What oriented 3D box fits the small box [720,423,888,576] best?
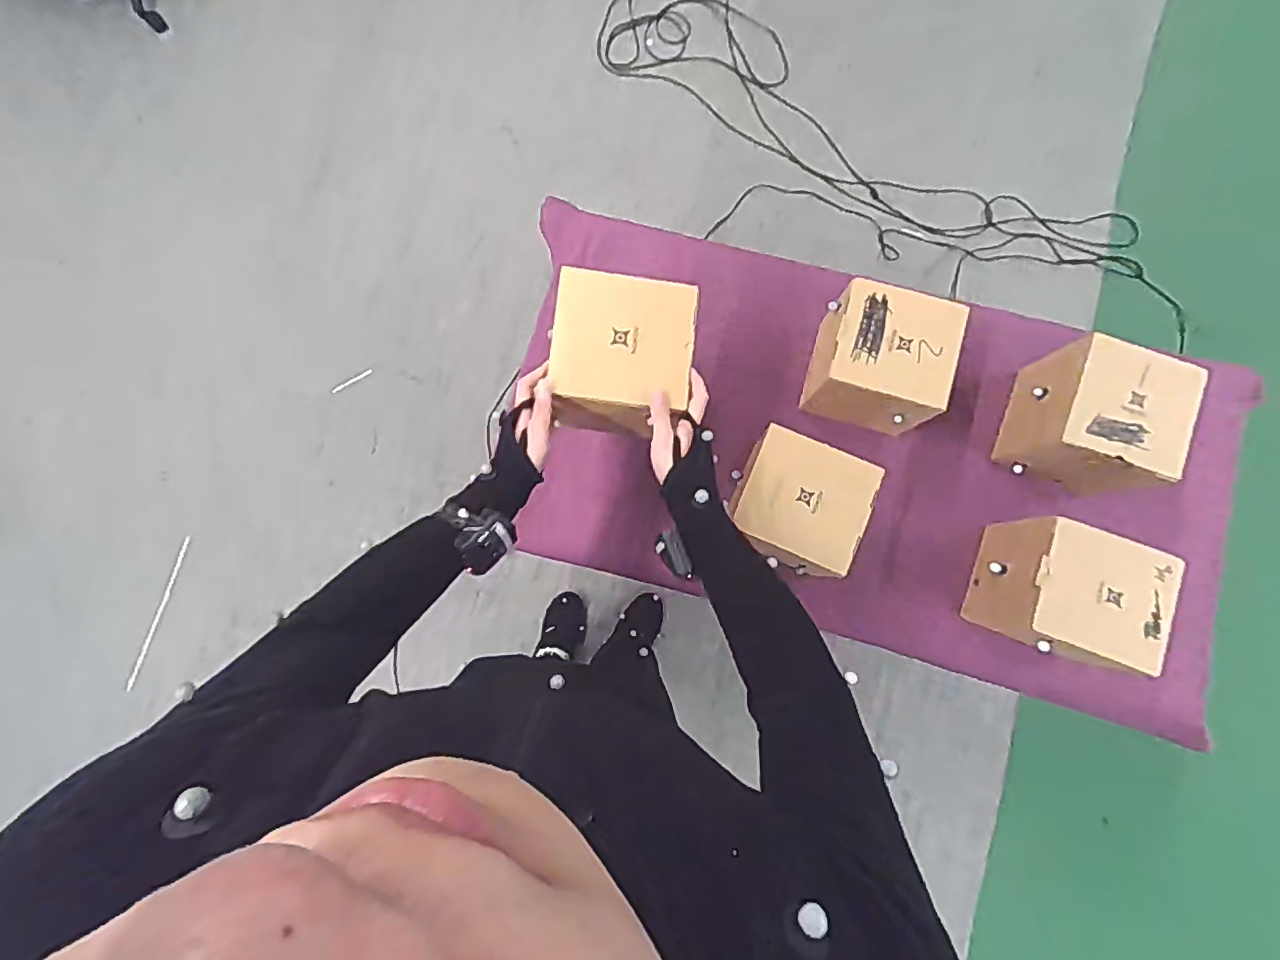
[{"bbox_3d":[0.240,0.036,0.832,0.179,0.176,0.168,24,82,6],"label":"small box"}]

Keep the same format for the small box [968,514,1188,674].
[{"bbox_3d":[0.628,0.164,0.799,0.179,0.176,0.168,21,82,6],"label":"small box"}]

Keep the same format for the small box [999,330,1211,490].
[{"bbox_3d":[0.699,-0.096,0.835,0.168,0.176,0.179,22,82,5],"label":"small box"}]

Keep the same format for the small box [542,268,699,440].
[{"bbox_3d":[-0.028,-0.157,0.730,0.179,0.176,0.168,7,82,-5],"label":"small box"}]
